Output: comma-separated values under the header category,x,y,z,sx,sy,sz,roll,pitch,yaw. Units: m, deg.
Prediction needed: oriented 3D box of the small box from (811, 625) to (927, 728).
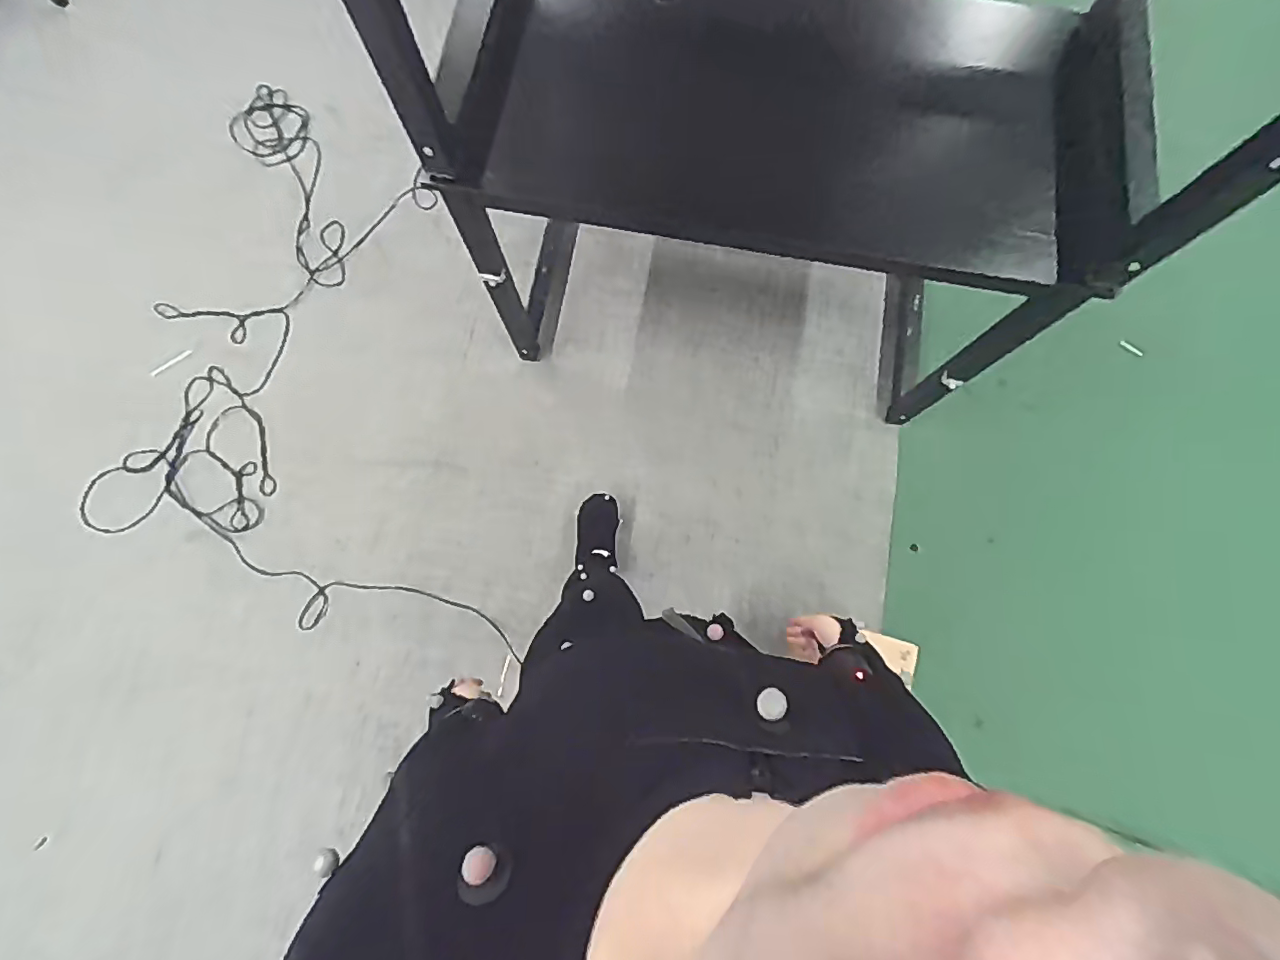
category,x,y,z,sx,sy,sz,roll,pitch,yaw
small box,0.503,0.431,1.210,0.179,0.176,0.168,17,77,4
